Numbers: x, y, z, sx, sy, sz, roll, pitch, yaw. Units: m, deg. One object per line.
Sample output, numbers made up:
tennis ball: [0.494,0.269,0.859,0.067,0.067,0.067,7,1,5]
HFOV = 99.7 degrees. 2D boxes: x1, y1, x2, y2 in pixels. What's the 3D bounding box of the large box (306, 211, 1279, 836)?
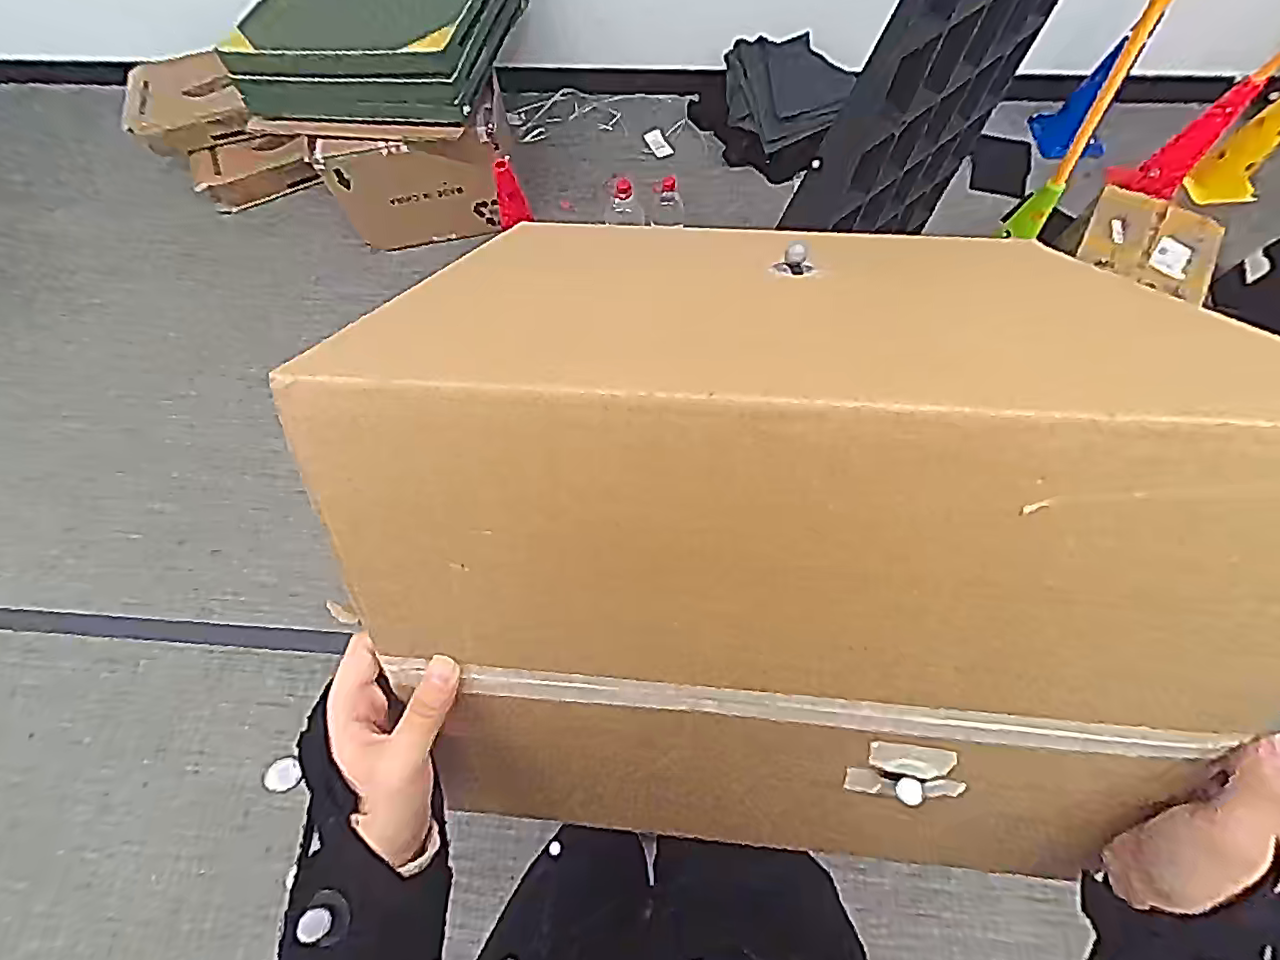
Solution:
large box: [0.089,-0.002,0.381,0.408,0.320,0.320,3,35,4]
